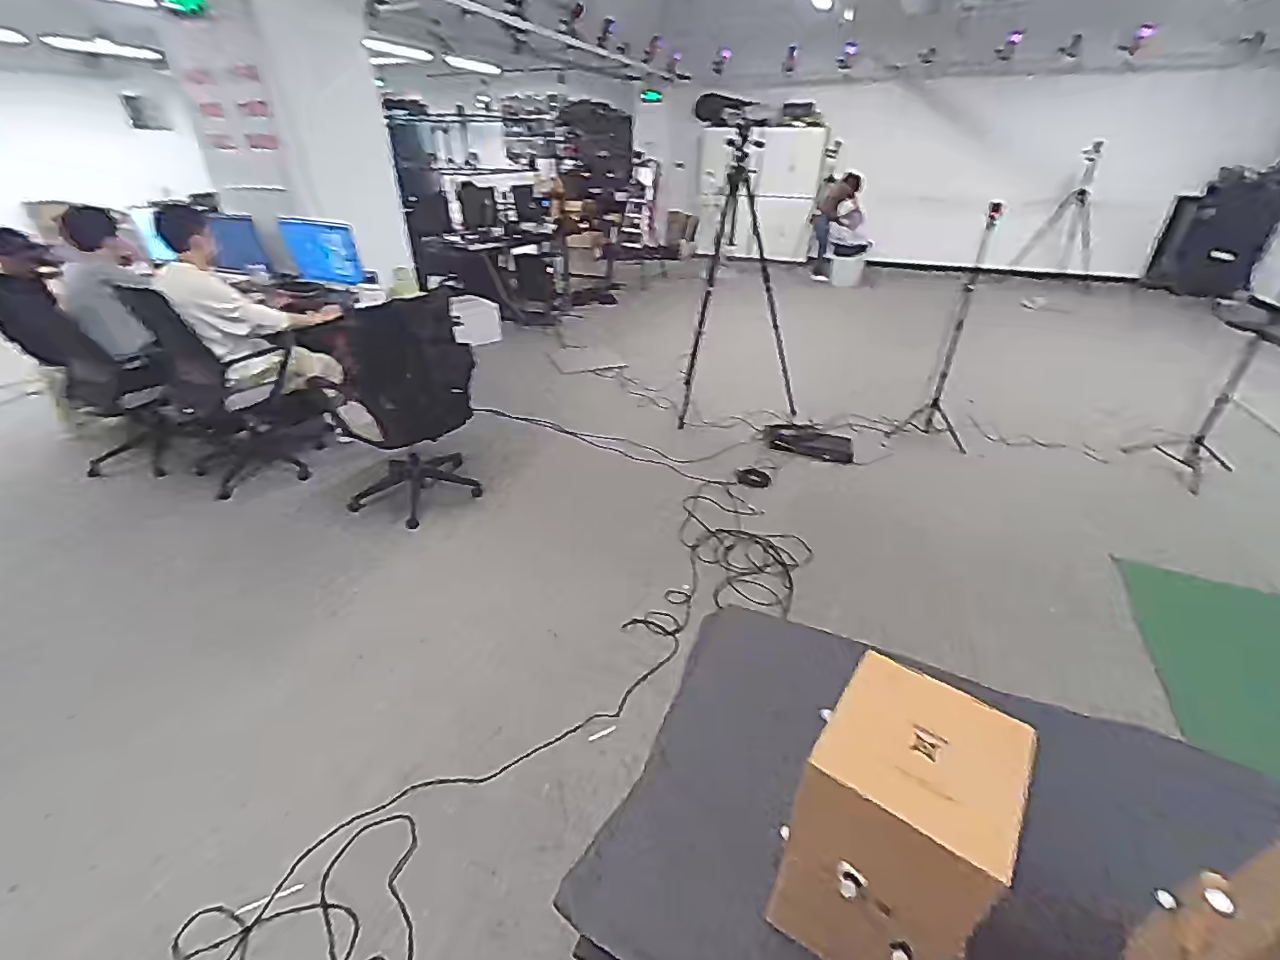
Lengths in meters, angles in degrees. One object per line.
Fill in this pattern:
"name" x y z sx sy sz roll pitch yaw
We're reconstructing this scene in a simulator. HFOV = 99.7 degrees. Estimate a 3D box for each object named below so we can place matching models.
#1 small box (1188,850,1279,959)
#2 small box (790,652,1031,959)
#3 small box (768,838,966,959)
"small box" 0.585 0.407 0.414 0.168 0.176 0.179 -18 35 -30
"small box" 0.269 0.324 0.557 0.168 0.176 0.179 21 37 33
"small box" 0.270 0.462 0.642 0.179 0.176 0.168 18 34 28
